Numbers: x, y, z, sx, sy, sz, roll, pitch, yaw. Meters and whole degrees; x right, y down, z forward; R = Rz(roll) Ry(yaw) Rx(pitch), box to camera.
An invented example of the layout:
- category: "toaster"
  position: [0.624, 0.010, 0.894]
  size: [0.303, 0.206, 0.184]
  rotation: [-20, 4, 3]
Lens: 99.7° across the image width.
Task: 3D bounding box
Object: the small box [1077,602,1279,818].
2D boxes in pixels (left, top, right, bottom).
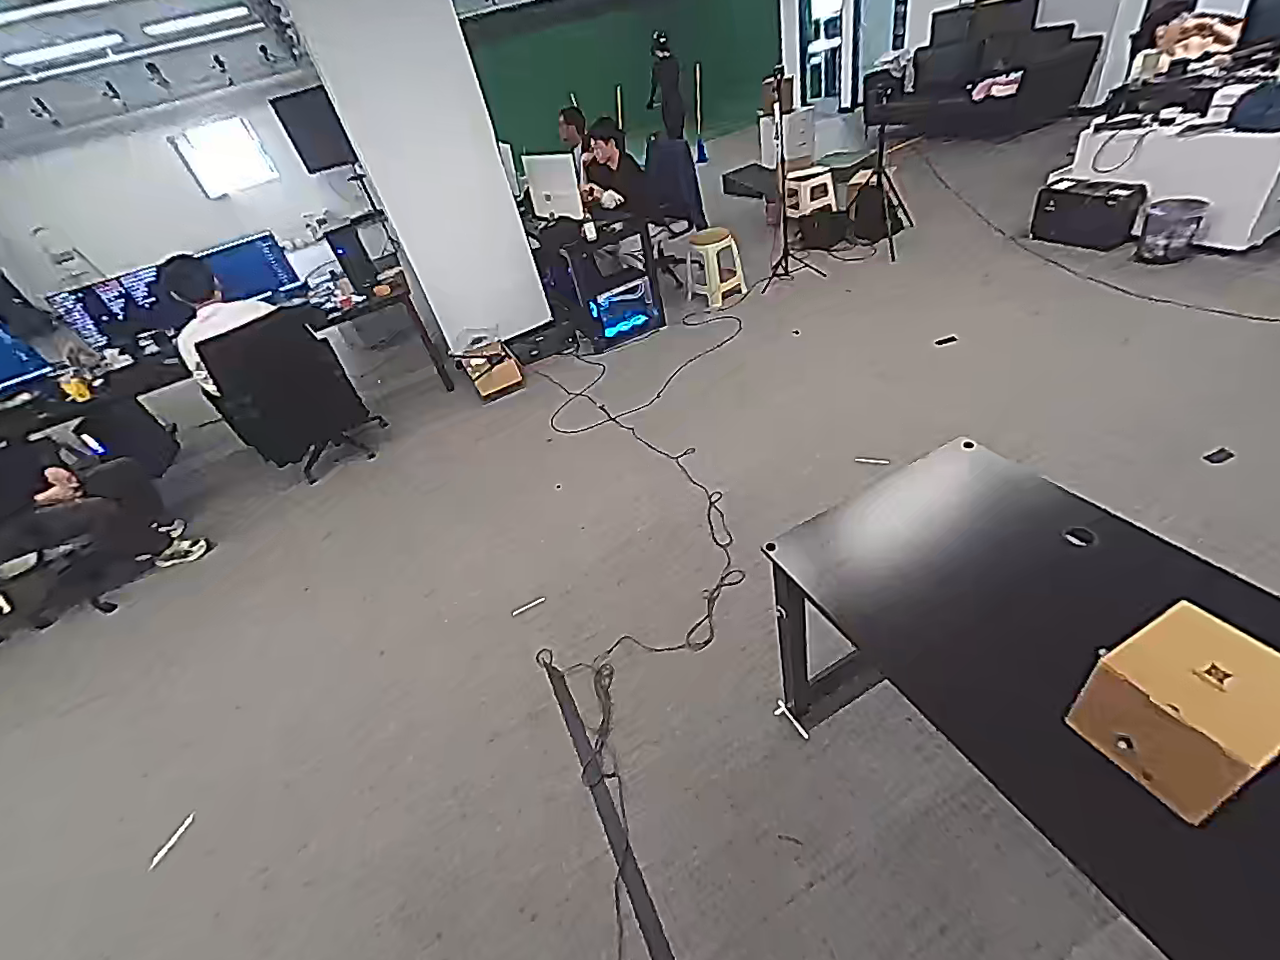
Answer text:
- category: "small box"
  position: [0.738, 0.304, 0.721]
  size: [0.179, 0.176, 0.168]
  rotation: [-26, 40, -13]
